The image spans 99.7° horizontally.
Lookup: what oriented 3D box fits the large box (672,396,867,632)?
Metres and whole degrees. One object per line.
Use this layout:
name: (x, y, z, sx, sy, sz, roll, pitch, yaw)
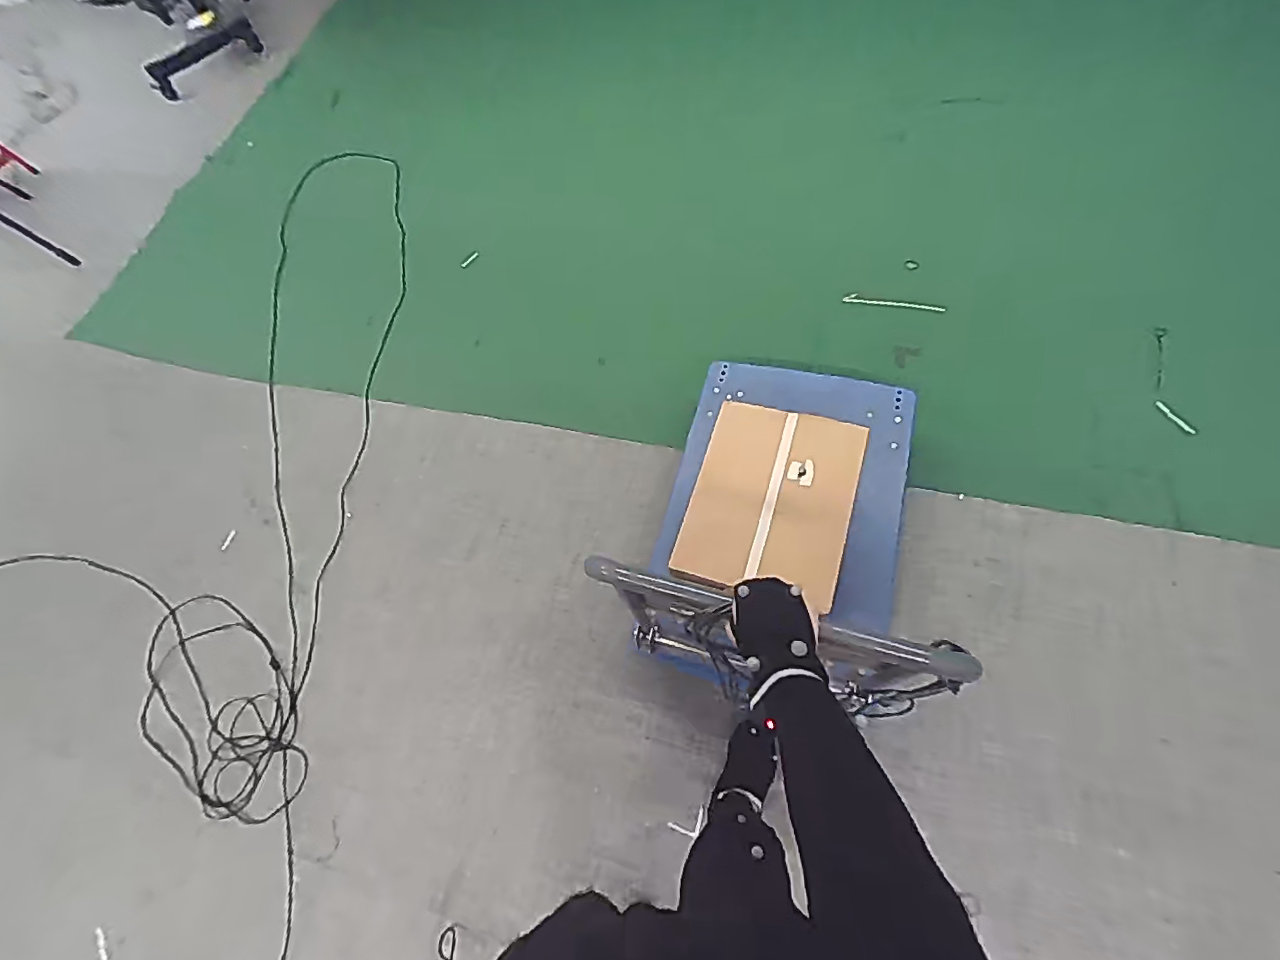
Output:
large box: (0.289, 0.084, 1.217, 0.320, 0.320, 0.408, 15, 69, 15)
